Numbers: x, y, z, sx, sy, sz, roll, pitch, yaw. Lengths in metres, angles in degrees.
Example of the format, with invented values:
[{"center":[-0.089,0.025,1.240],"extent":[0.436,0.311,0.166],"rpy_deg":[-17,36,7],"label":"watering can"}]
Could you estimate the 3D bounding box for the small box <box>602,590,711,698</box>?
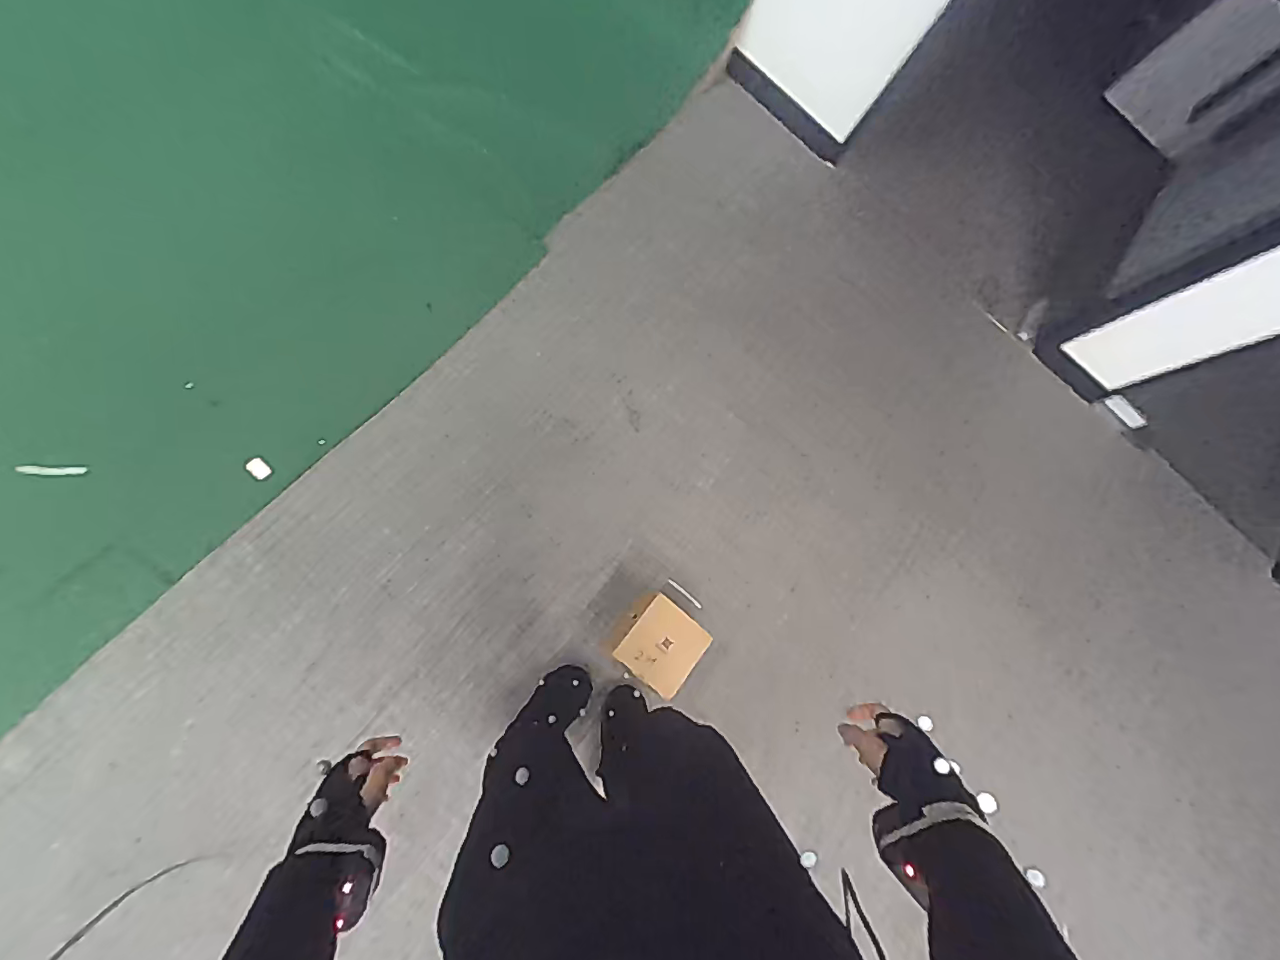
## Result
[{"center":[0.030,0.374,1.269],"extent":[0.168,0.176,0.179],"rpy_deg":[42,73,-2],"label":"small box"}]
